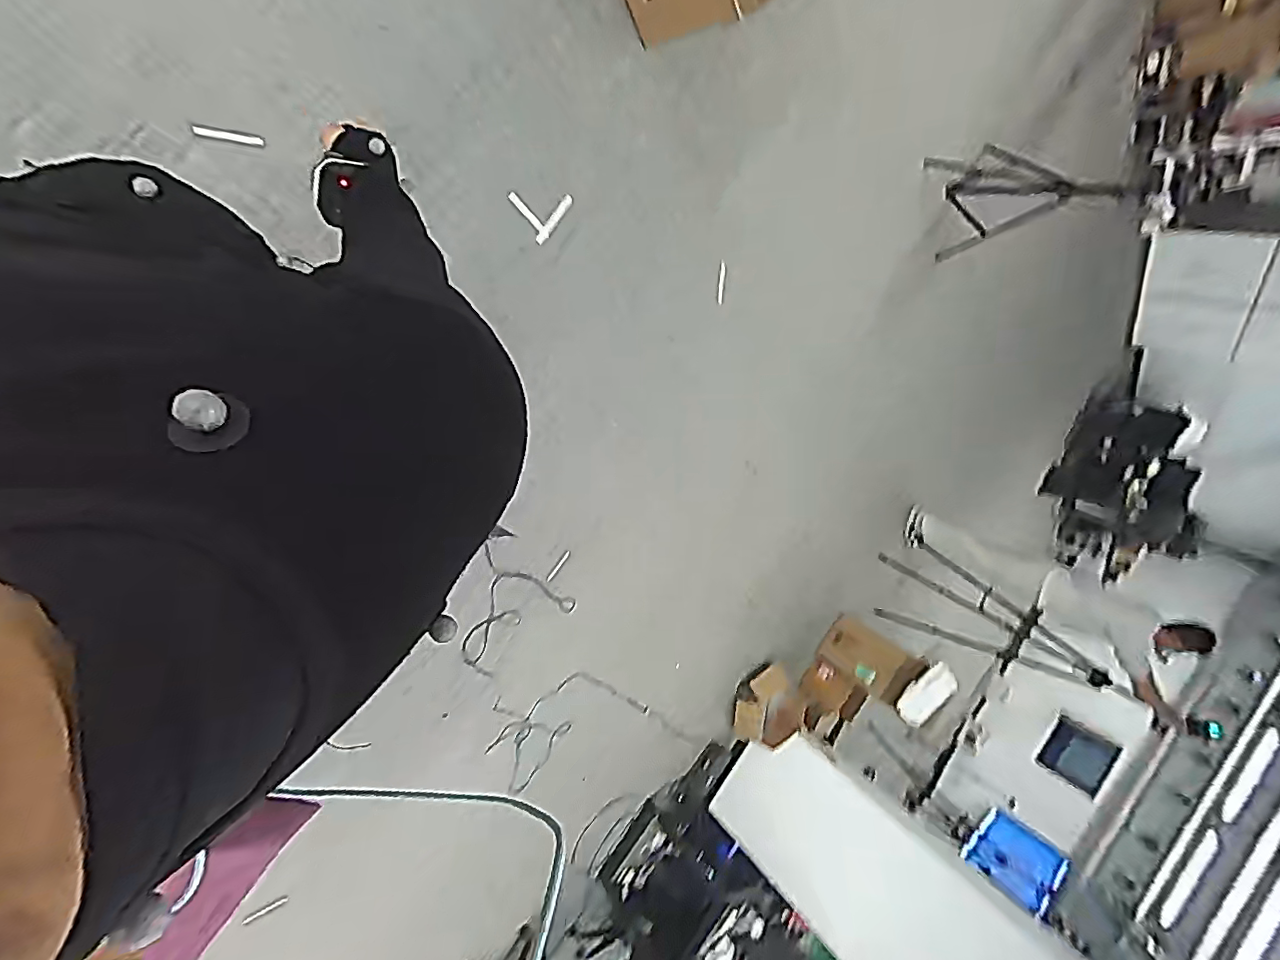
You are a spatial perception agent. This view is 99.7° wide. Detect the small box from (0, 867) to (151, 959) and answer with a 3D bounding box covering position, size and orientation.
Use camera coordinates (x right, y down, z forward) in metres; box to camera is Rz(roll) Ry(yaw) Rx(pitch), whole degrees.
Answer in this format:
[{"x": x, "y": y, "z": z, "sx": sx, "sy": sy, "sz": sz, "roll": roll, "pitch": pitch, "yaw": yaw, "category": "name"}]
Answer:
[{"x": -0.848, "y": 0.692, "z": 0.770, "sx": 0.168, "sy": 0.176, "sz": 0.179, "roll": -56, "pitch": 136, "yaw": -4, "category": "small box"}]
